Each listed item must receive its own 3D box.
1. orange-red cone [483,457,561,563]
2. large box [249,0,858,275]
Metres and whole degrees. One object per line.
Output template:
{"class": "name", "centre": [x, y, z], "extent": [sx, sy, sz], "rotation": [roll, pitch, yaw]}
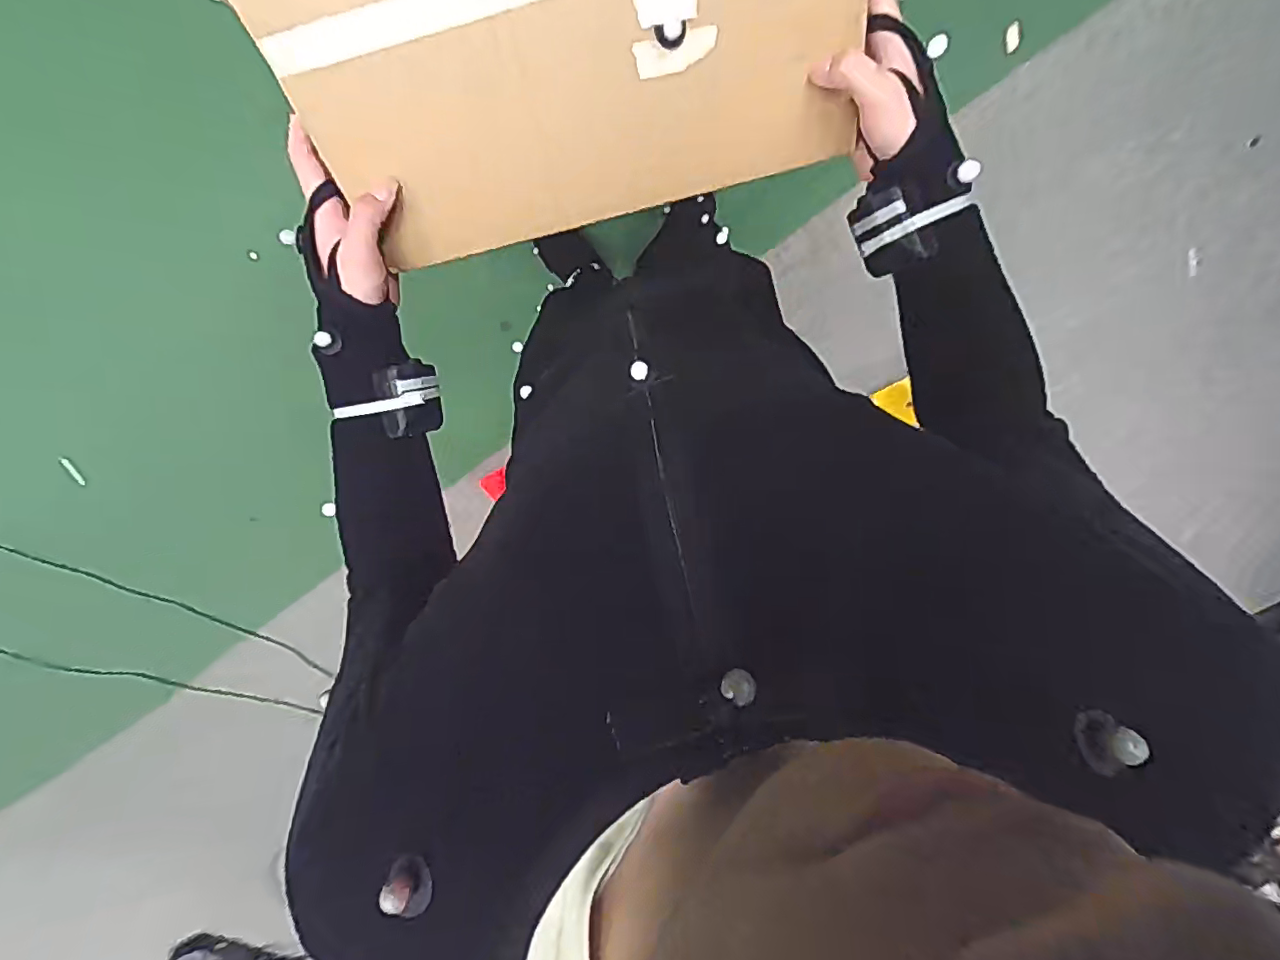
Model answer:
{"class": "orange-red cone", "centre": [-0.354, 0.121, 1.605], "extent": [0.199, 0.360, 0.198], "rotation": [-27, 122, 7]}
{"class": "large box", "centre": [-0.070, -0.432, 0.460], "extent": [0.408, 0.320, 0.320], "rotation": [-14, 136, 3]}
